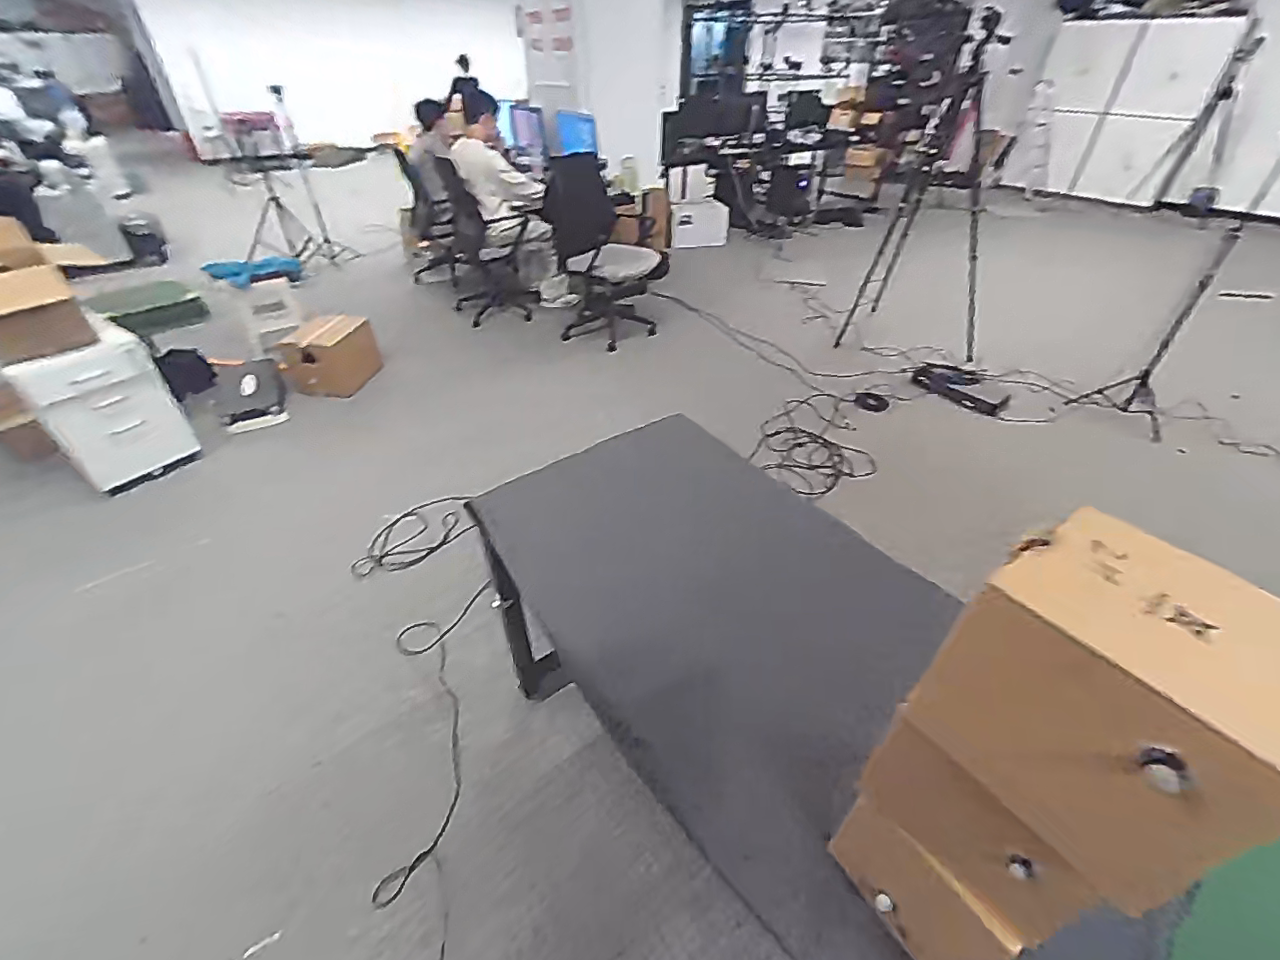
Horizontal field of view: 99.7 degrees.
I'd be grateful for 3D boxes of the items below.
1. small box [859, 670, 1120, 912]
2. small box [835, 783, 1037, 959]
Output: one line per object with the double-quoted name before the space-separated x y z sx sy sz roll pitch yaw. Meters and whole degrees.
"small box" 0.346 0.262 0.517 0.168 0.176 0.179 -24 42 -32
"small box" 0.348 0.398 0.606 0.179 0.176 0.168 -19 41 -25
